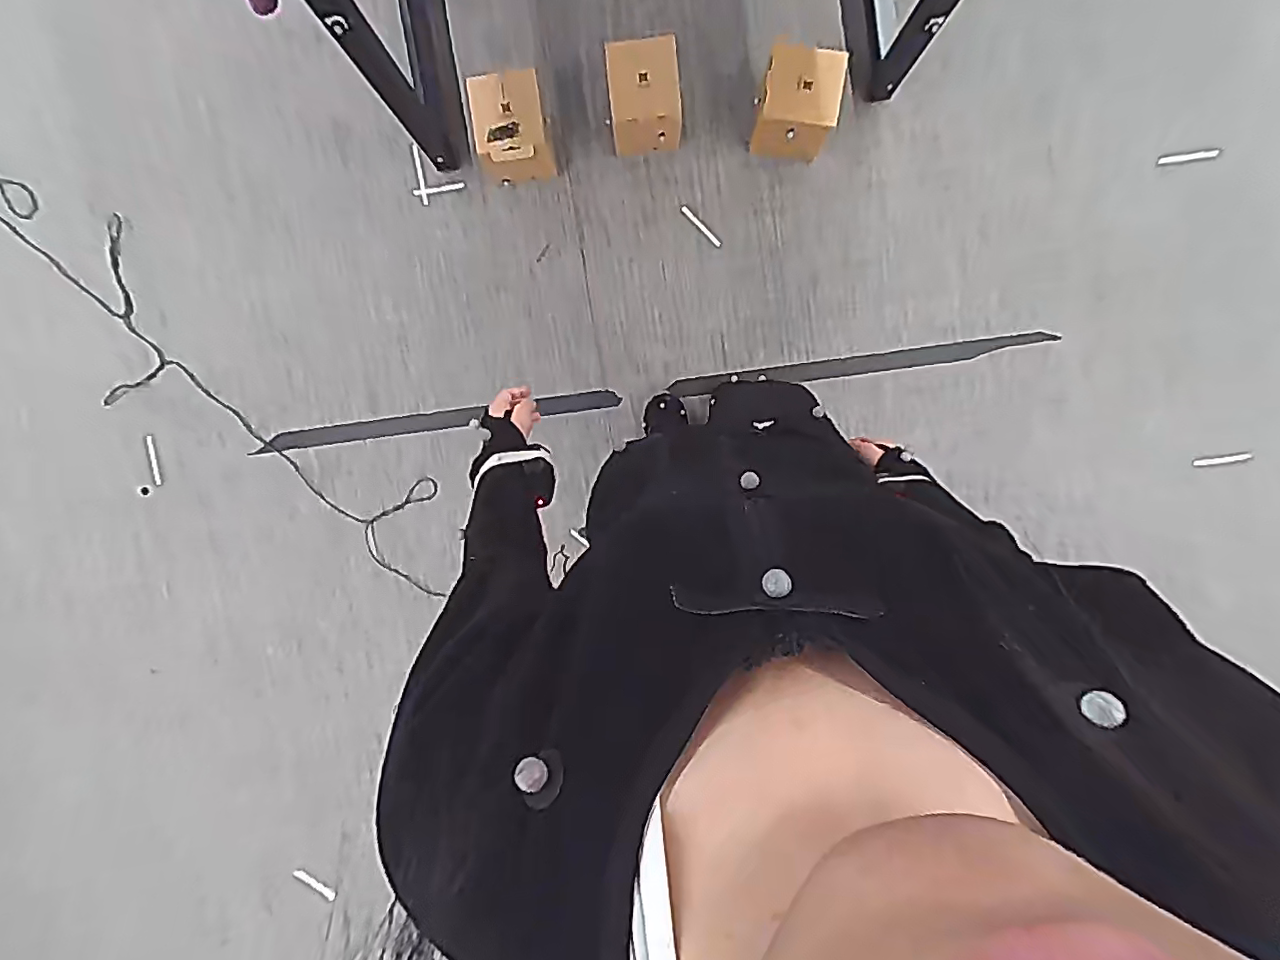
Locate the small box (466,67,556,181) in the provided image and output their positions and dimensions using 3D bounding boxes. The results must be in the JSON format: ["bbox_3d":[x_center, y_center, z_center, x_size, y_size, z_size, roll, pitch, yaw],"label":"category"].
[{"bbox_3d":[-0.309,-0.863,1.331,0.168,0.176,0.179,-7,94,1],"label":"small box"}]

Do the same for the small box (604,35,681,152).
[{"bbox_3d":[0.007,-0.932,1.324,0.168,0.176,0.179,-7,94,0],"label":"small box"}]

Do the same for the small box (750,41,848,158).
[{"bbox_3d":[0.380,-0.919,1.323,0.179,0.176,0.168,9,96,1],"label":"small box"}]
